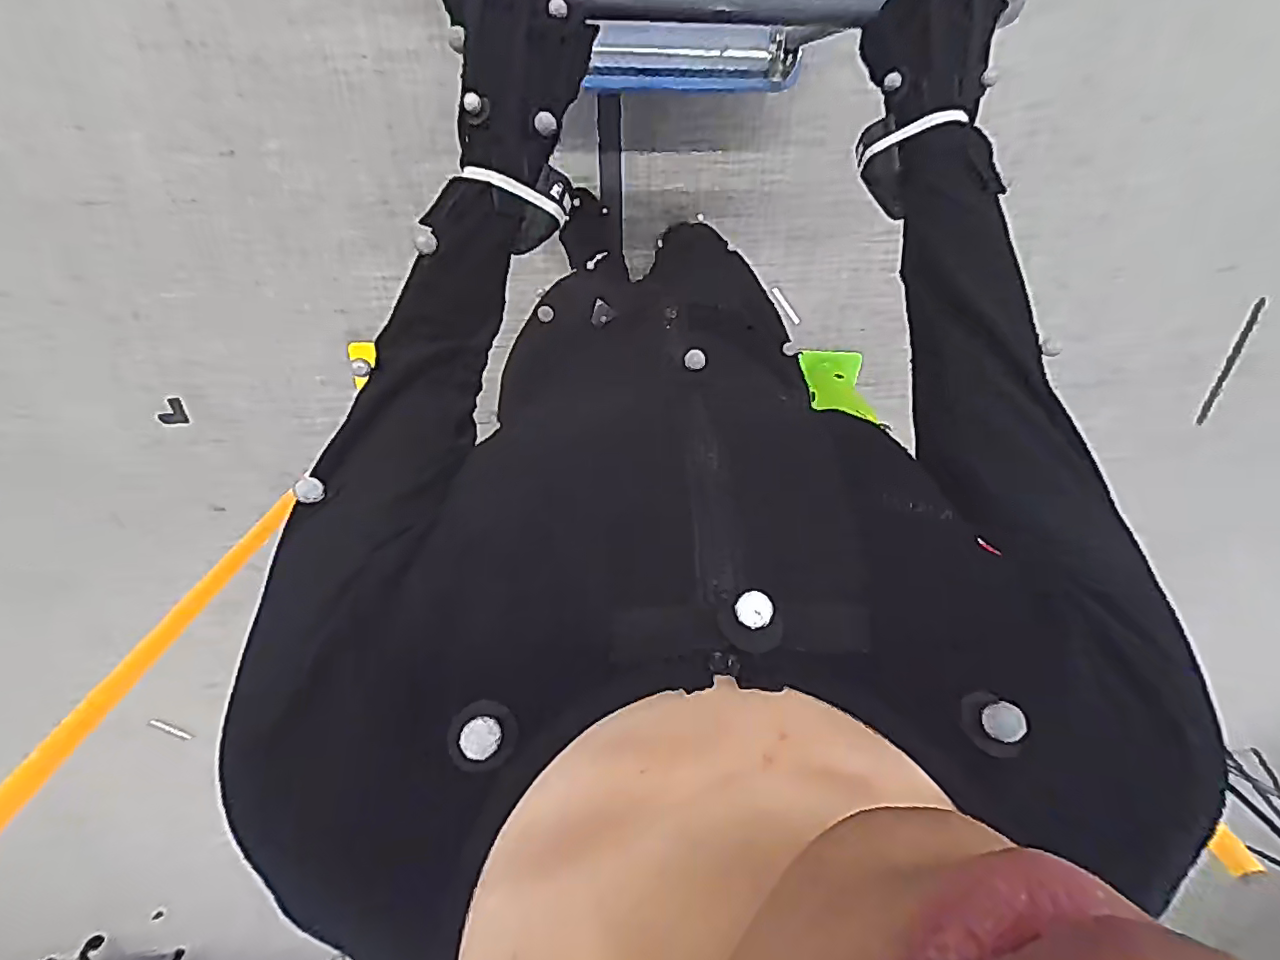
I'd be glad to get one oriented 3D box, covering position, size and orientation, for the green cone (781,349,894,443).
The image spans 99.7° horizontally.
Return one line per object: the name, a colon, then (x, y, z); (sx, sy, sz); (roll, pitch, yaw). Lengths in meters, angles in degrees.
green cone: (0.524, -0.184, 1.366); (0.202, 0.368, 0.200); (-1, 120, -8)
